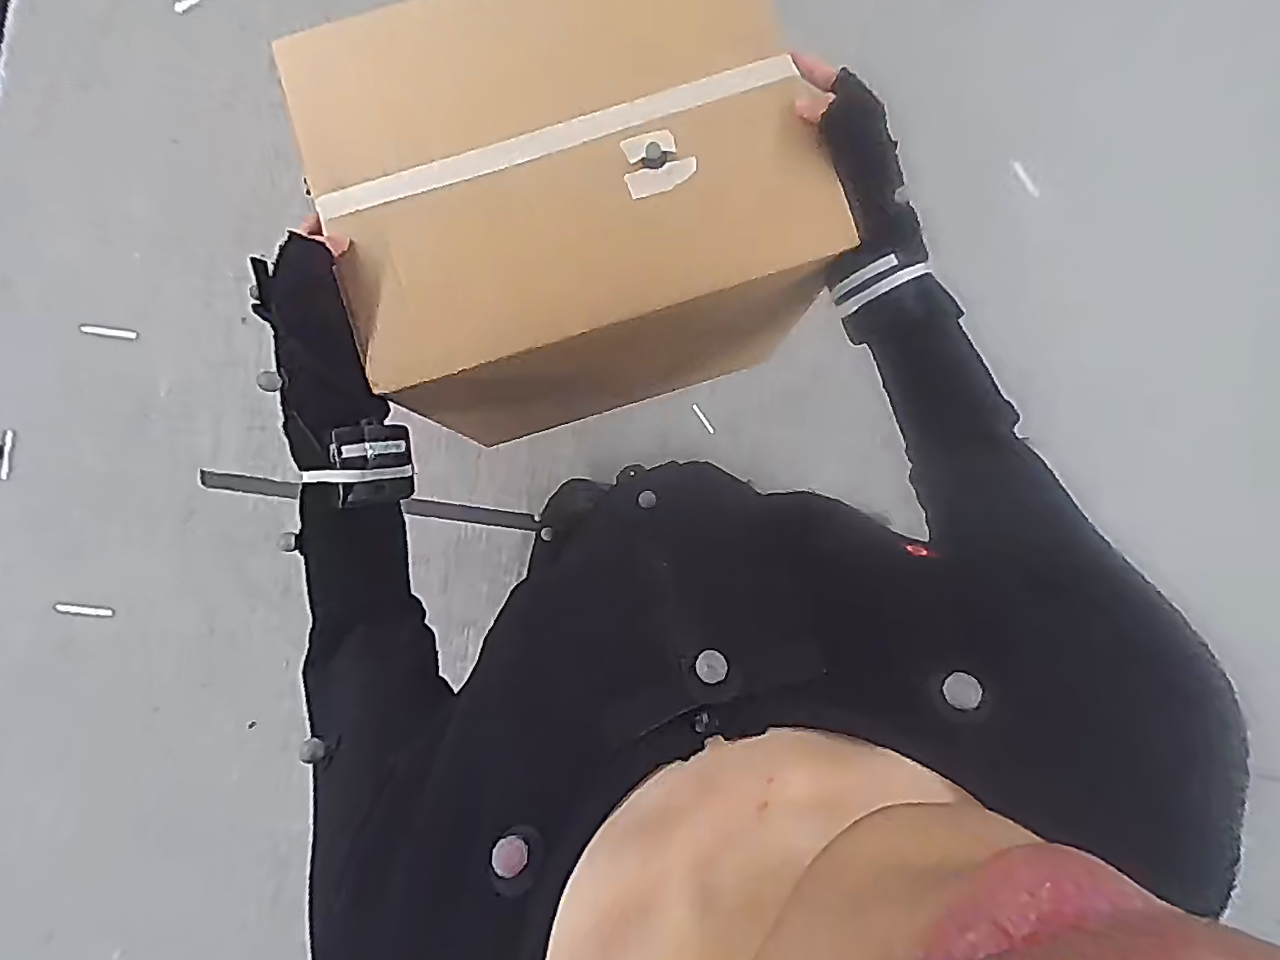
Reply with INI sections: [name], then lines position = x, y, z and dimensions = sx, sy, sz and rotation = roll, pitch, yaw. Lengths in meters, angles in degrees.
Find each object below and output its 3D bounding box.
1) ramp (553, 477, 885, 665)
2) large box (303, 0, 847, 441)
[ramp]
position = 0.267, 0.282, 1.583
dimensions = 0.991, 0.206, 0.509
rotation = 5, 88, -4
[large box]
position = -0.060, -0.267, 0.604
dimensions = 0.408, 0.320, 0.320
rotation = -17, 86, -2
